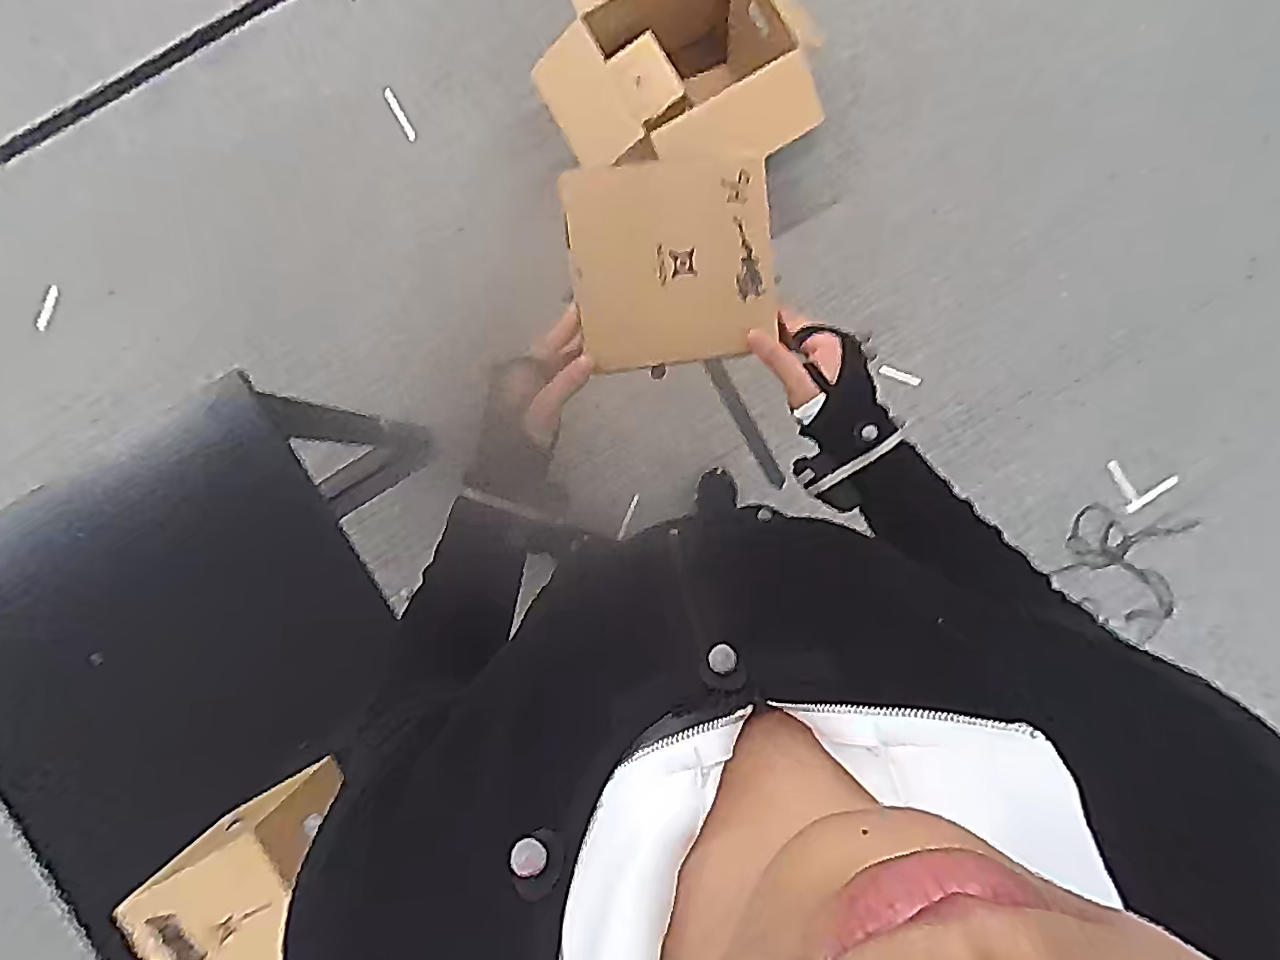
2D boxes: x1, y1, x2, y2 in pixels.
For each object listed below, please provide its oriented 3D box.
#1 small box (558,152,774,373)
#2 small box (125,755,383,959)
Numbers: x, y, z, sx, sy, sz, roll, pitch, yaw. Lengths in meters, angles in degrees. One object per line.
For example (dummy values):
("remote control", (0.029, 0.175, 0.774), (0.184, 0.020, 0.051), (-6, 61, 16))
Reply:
("small box", (0.022, -0.202, 0.549), (0.179, 0.176, 0.168), (-8, 100, -2))
("small box", (-0.476, 0.501, 0.697), (0.179, 0.176, 0.168), (-30, 92, -1))
